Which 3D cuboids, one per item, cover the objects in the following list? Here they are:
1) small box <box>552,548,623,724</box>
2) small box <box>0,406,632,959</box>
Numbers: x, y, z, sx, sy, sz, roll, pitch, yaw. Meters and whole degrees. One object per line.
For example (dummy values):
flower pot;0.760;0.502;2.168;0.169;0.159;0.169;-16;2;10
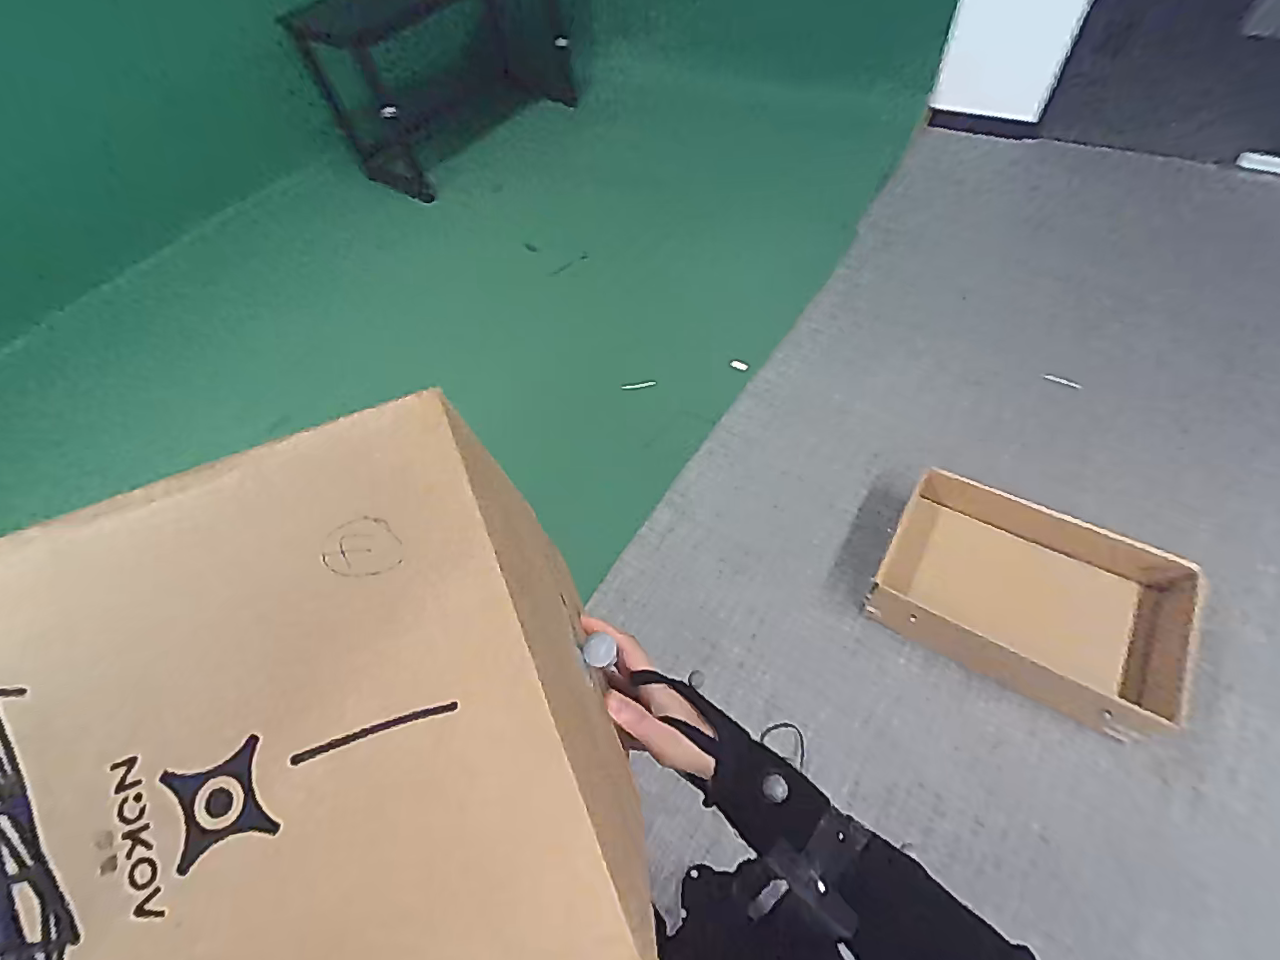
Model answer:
small box;-0.121;0.186;0.531;0.168;0.176;0.179;-22;72;-7
small box;-0.110;0.101;0.214;0.179;0.176;0.168;-22;76;-7
